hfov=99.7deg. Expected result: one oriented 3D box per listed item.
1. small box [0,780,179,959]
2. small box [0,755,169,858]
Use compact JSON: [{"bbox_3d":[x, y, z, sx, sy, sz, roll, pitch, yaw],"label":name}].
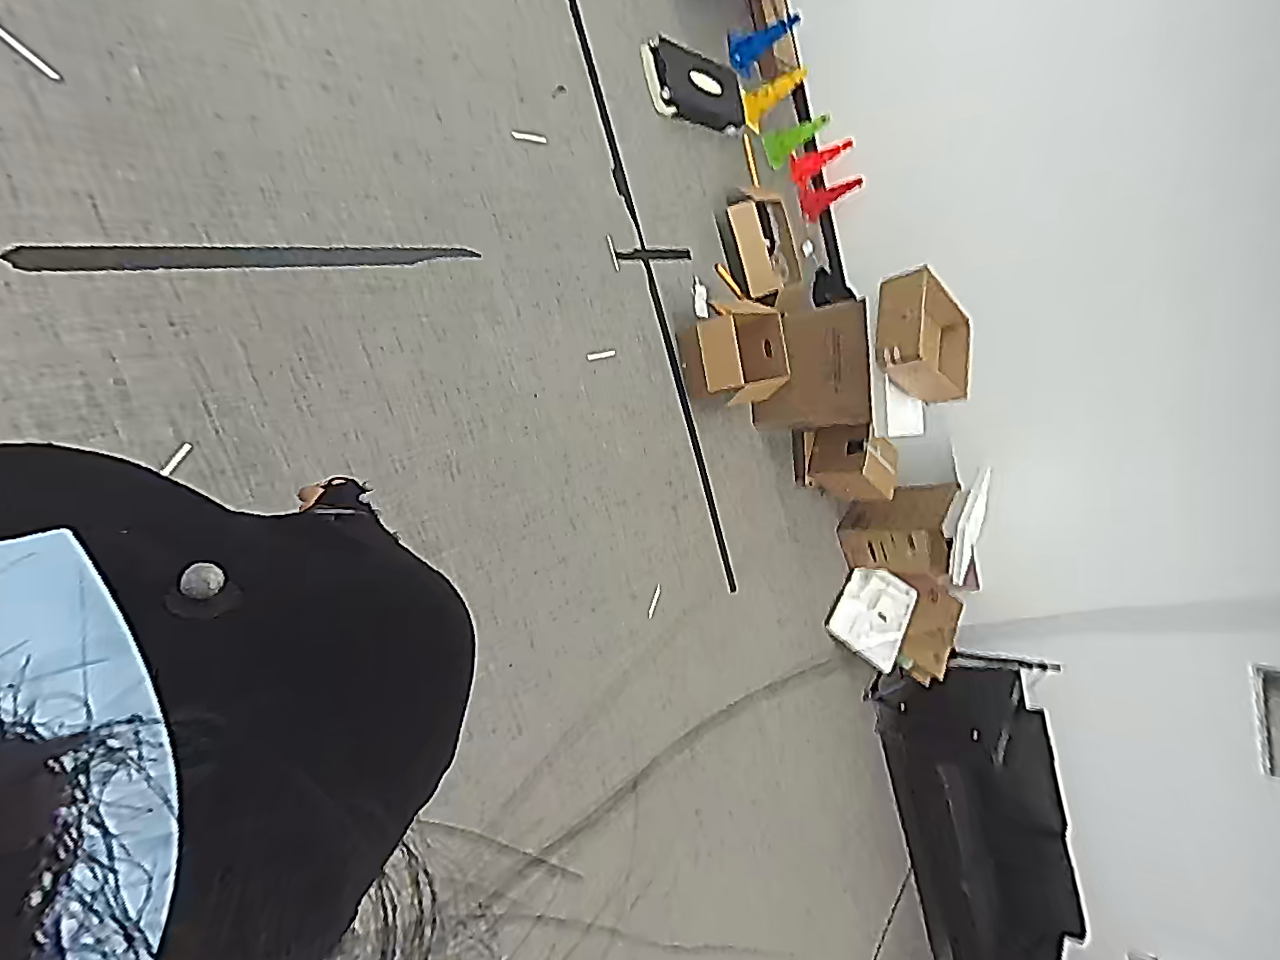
[{"bbox_3d":[-0.891,0.633,0.881,0.168,0.176,0.179,-24,103,-45],"label":"small box"},{"bbox_3d":[-1.015,0.641,0.988,0.168,0.176,0.179,-41,114,-41],"label":"small box"}]
